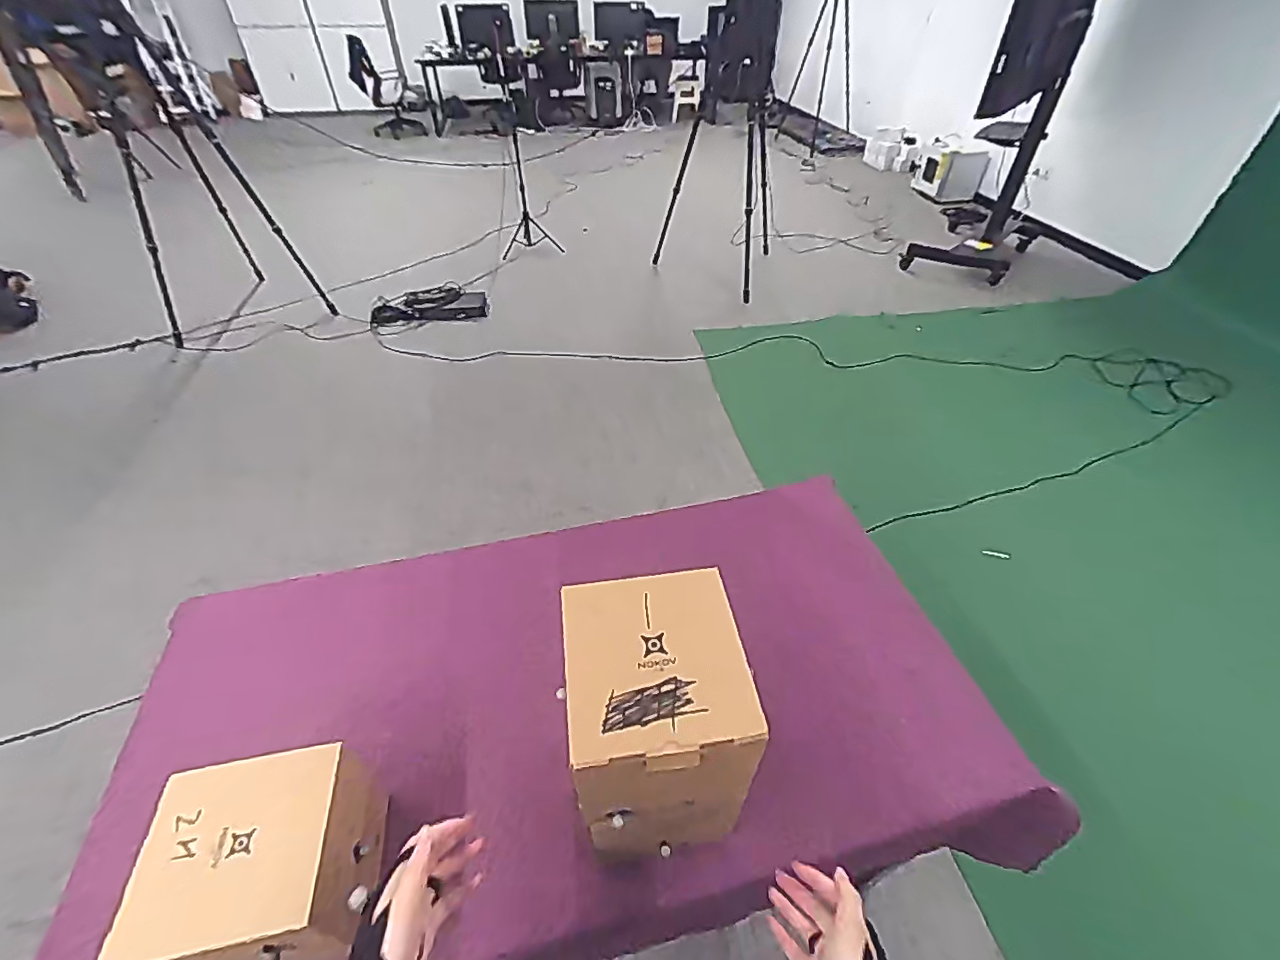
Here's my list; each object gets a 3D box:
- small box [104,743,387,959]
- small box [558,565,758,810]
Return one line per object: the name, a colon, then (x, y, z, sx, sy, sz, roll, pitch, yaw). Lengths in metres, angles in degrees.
small box: (-0.397, 0.417, 0.590, 0.179, 0.176, 0.168, -8, 43, -8)
small box: (0.010, 0.215, 0.554, 0.168, 0.176, 0.179, -7, 43, -6)
